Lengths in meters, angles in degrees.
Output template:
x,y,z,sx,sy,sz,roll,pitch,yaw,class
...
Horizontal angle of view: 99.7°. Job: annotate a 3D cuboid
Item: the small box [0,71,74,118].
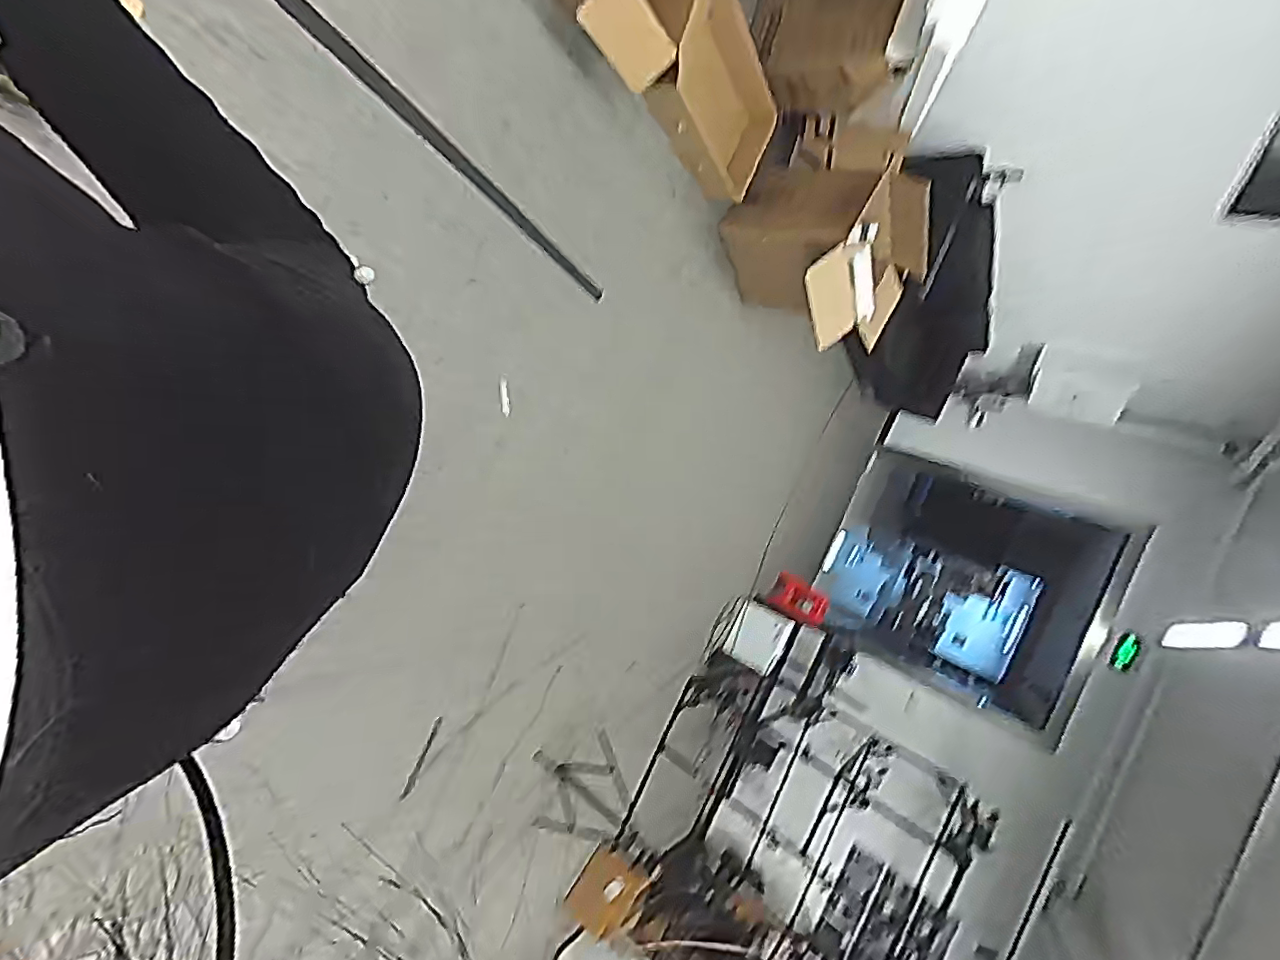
x,y,z,sx,sy,sz,roll,pitch,yaw,class
-0.963,-0.698,0.835,0.168,0.176,0.179,30,86,-57,small box
